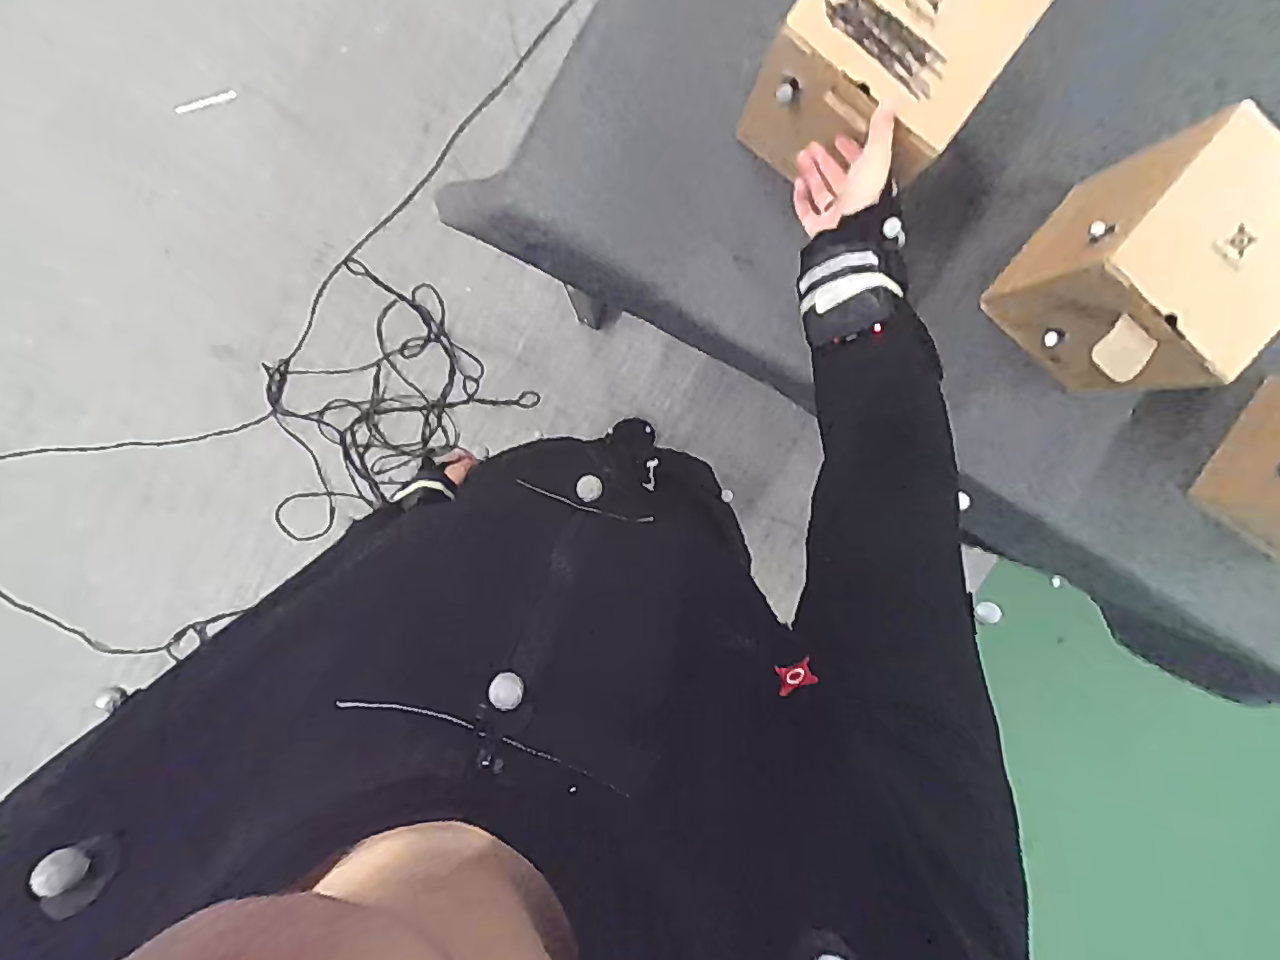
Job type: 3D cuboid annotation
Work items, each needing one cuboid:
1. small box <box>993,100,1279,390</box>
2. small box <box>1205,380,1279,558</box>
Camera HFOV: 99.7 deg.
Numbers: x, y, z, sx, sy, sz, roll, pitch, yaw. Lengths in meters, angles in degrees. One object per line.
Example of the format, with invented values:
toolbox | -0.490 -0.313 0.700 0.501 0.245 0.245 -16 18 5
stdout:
small box | 0.509 -0.208 0.537 0.168 0.176 0.179 39 93 -6
small box | 0.777 0.000 0.572 0.168 0.176 0.179 31 92 -7
